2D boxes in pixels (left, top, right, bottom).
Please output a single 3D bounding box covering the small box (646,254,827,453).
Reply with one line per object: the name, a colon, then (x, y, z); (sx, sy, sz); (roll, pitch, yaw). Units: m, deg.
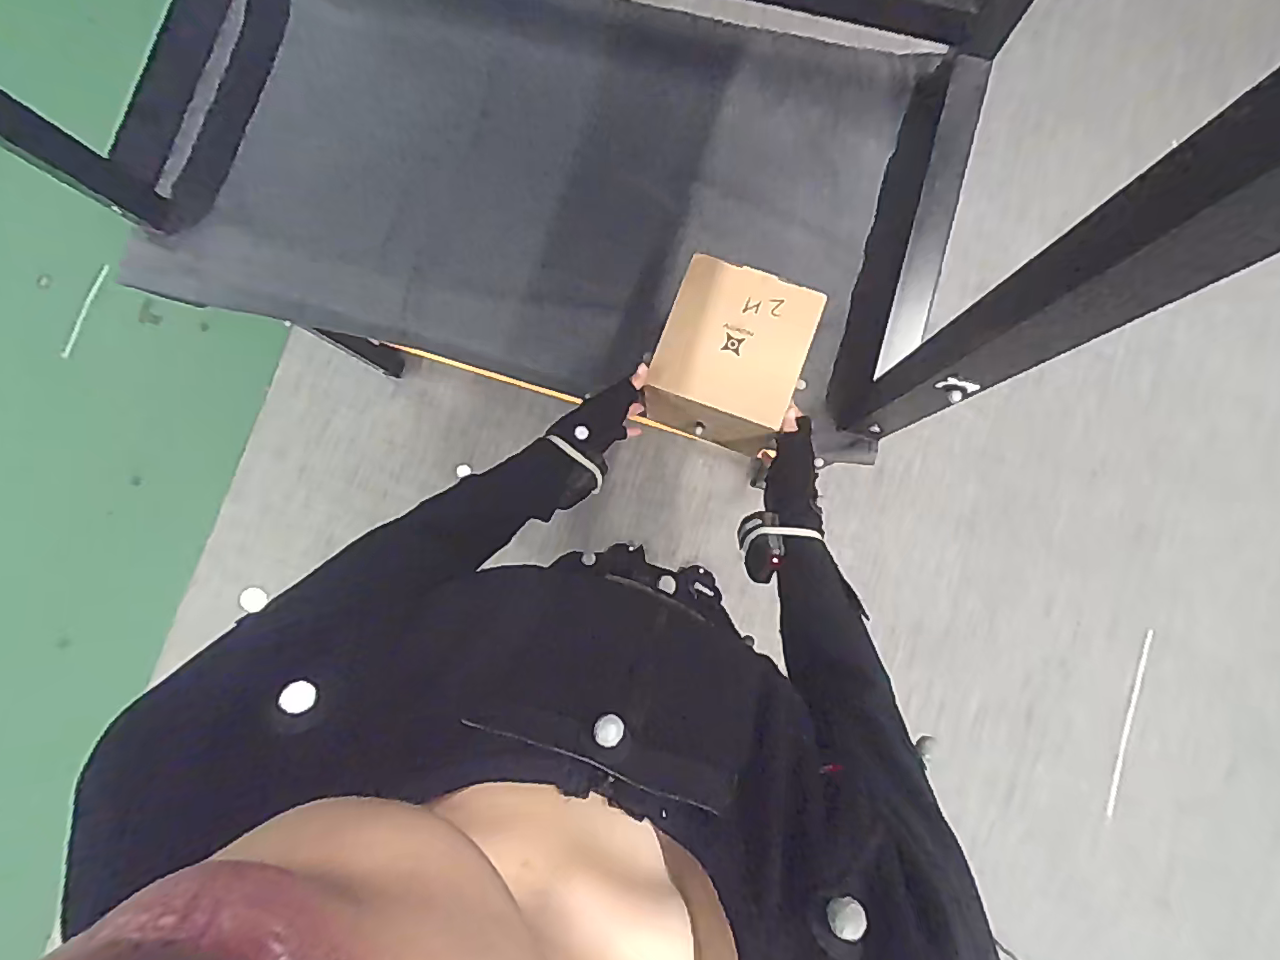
small box: (0.116, -0.150, 0.703); (0.168, 0.176, 0.179); (20, 83, 5)
